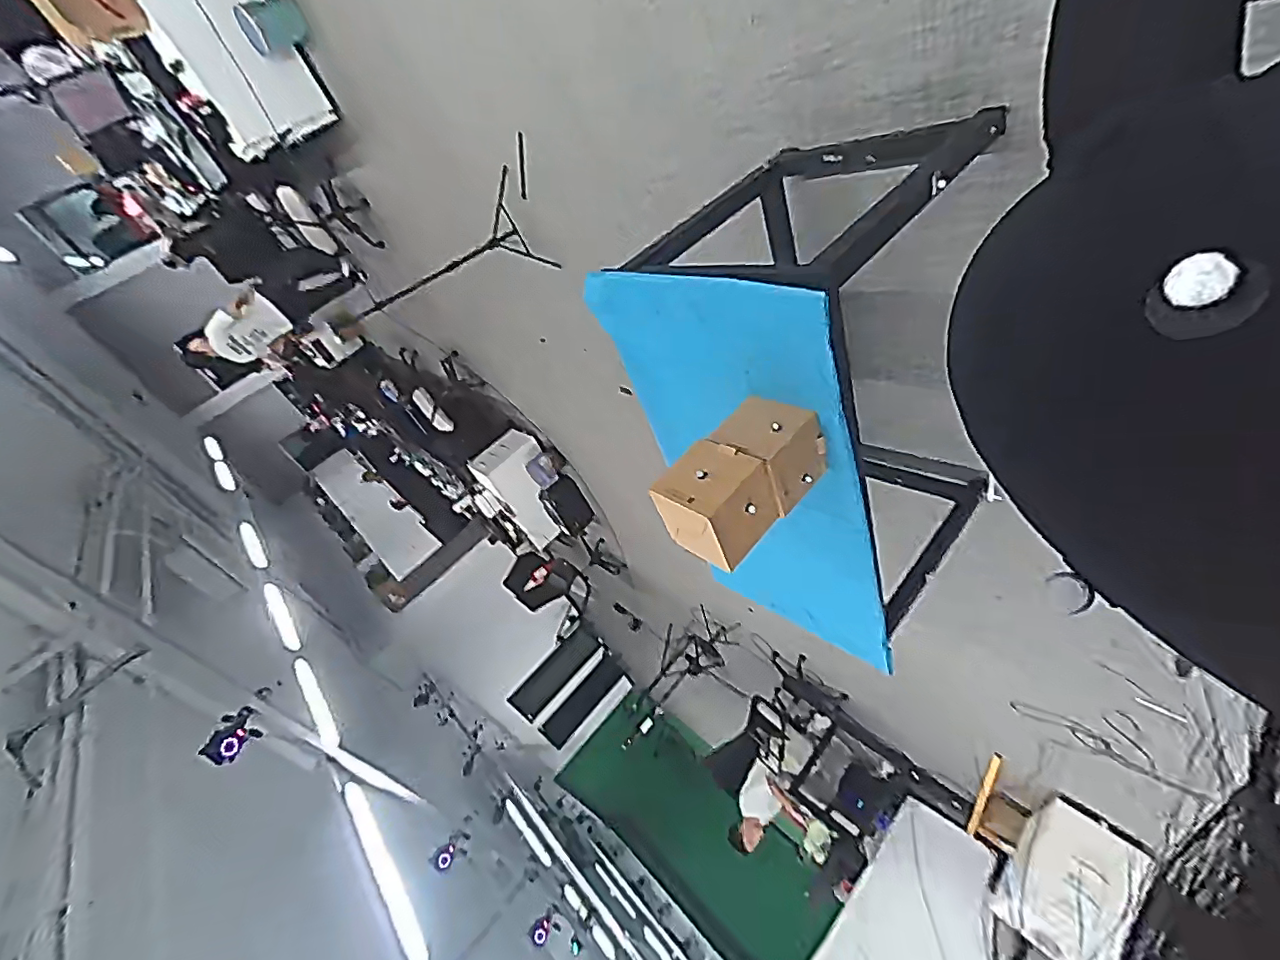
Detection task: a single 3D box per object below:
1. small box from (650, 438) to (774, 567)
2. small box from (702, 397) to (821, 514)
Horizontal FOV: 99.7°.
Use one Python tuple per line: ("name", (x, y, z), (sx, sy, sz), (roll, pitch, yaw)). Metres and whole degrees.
("small box", (0.144, 0.046, 1.108), (0.168, 0.176, 0.179), (26, 154, 43))
("small box", (0.260, -0.053, 1.168), (0.179, 0.176, 0.168), (24, 149, 44))
